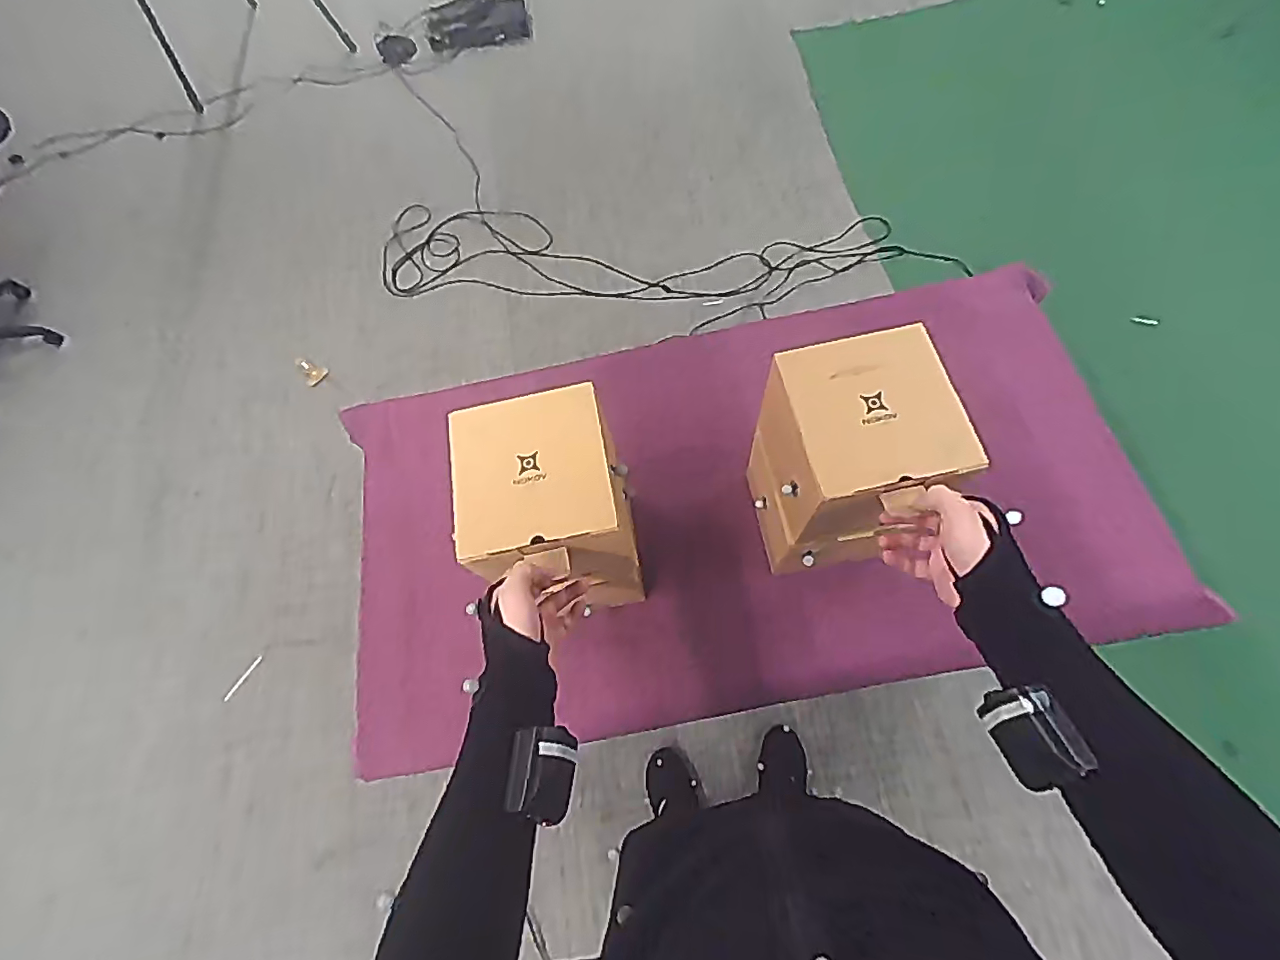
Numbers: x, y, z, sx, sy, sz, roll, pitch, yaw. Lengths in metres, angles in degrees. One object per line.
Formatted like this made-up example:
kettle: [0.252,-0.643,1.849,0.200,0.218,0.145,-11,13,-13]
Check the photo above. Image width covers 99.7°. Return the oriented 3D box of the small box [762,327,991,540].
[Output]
small box: [0.246,-0.040,0.614,0.168,0.176,0.179,-11,66,1]

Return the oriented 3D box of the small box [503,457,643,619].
small box: [-0.093,0.088,0.772,0.168,0.176,0.179,-10,67,2]

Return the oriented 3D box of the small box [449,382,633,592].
small box: [-0.108,0.017,0.627,0.168,0.176,0.179,-12,67,0]
